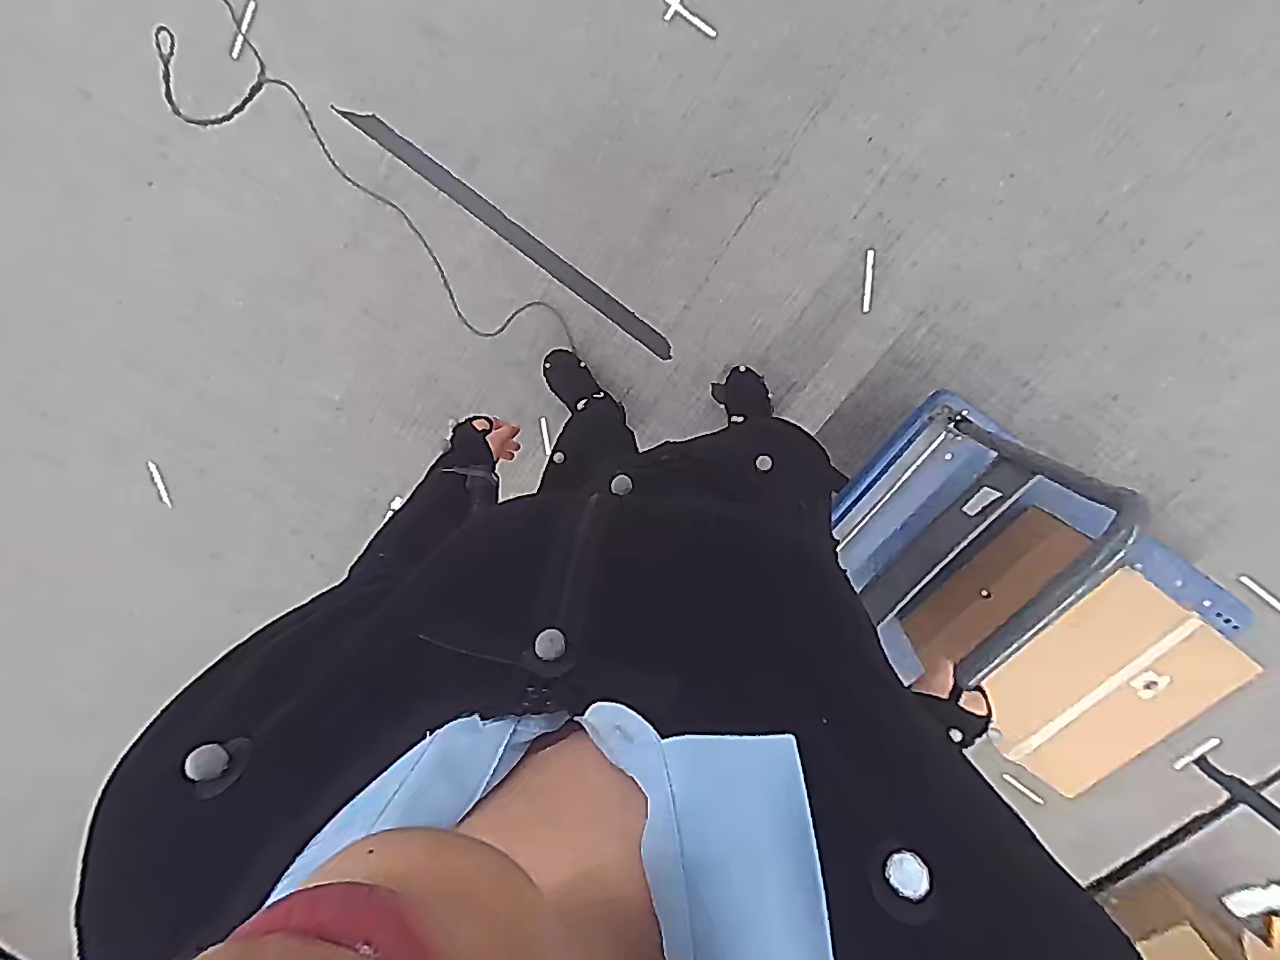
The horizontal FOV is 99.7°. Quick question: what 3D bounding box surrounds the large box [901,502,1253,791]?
[{"bbox_3d":[0.835,0.322,1.114,0.320,0.320,0.408,37,108,-3],"label":"large box"}]
